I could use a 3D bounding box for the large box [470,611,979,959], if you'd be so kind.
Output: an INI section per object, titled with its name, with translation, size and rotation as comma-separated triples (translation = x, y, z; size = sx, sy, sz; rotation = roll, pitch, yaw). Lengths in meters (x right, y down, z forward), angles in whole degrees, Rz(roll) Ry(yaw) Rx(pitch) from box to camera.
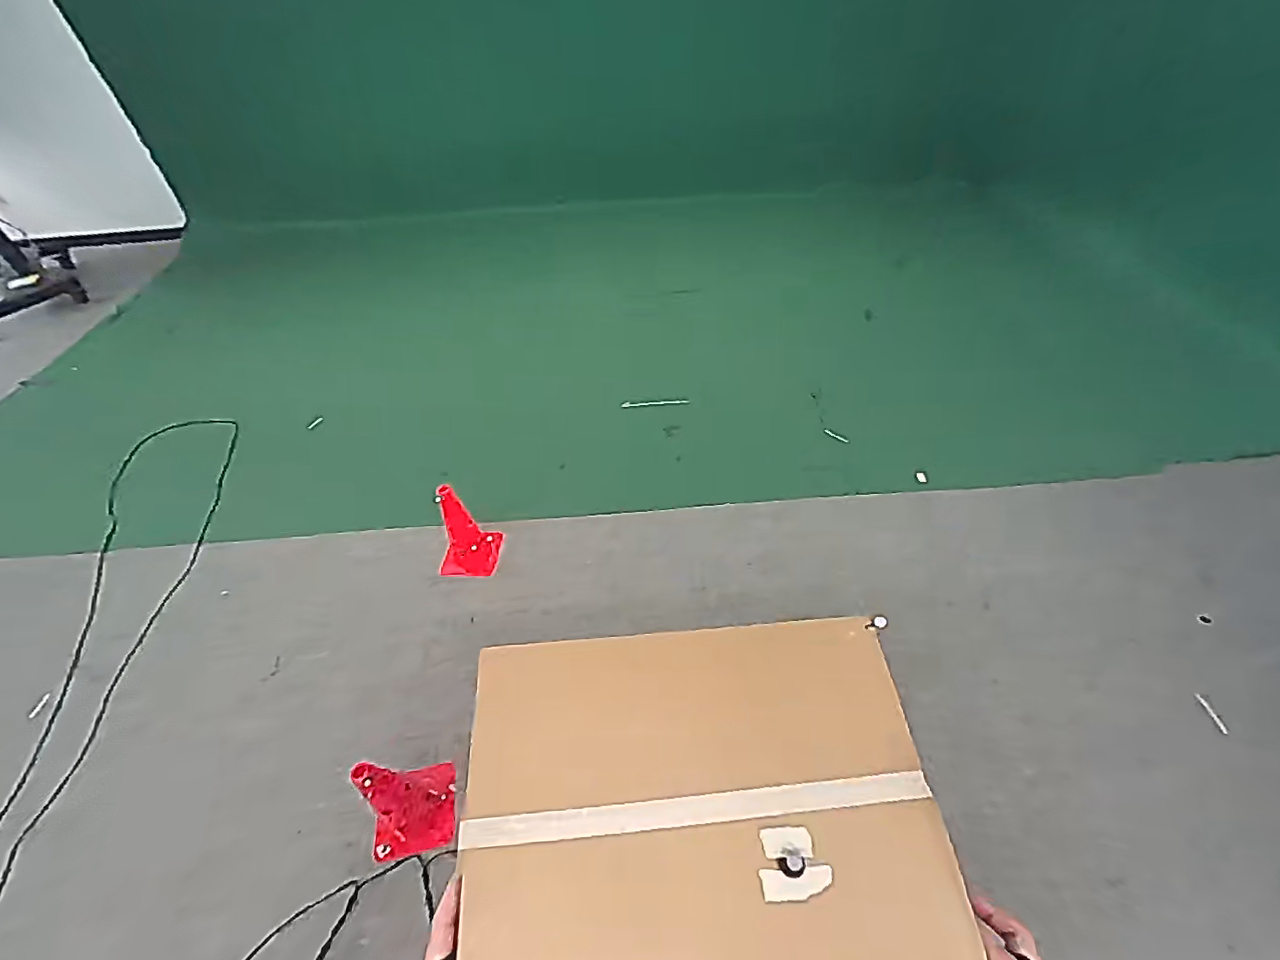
[large box]
translation = 0.051, 0.366, 0.606
size = 0.408, 0.320, 0.320
rotation = -4, 57, -4

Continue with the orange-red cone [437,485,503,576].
[orange-red cone]
translation = -0.631, 0.151, 1.871
size = 0.199, 0.360, 0.198
rotation = 1, 46, 6
